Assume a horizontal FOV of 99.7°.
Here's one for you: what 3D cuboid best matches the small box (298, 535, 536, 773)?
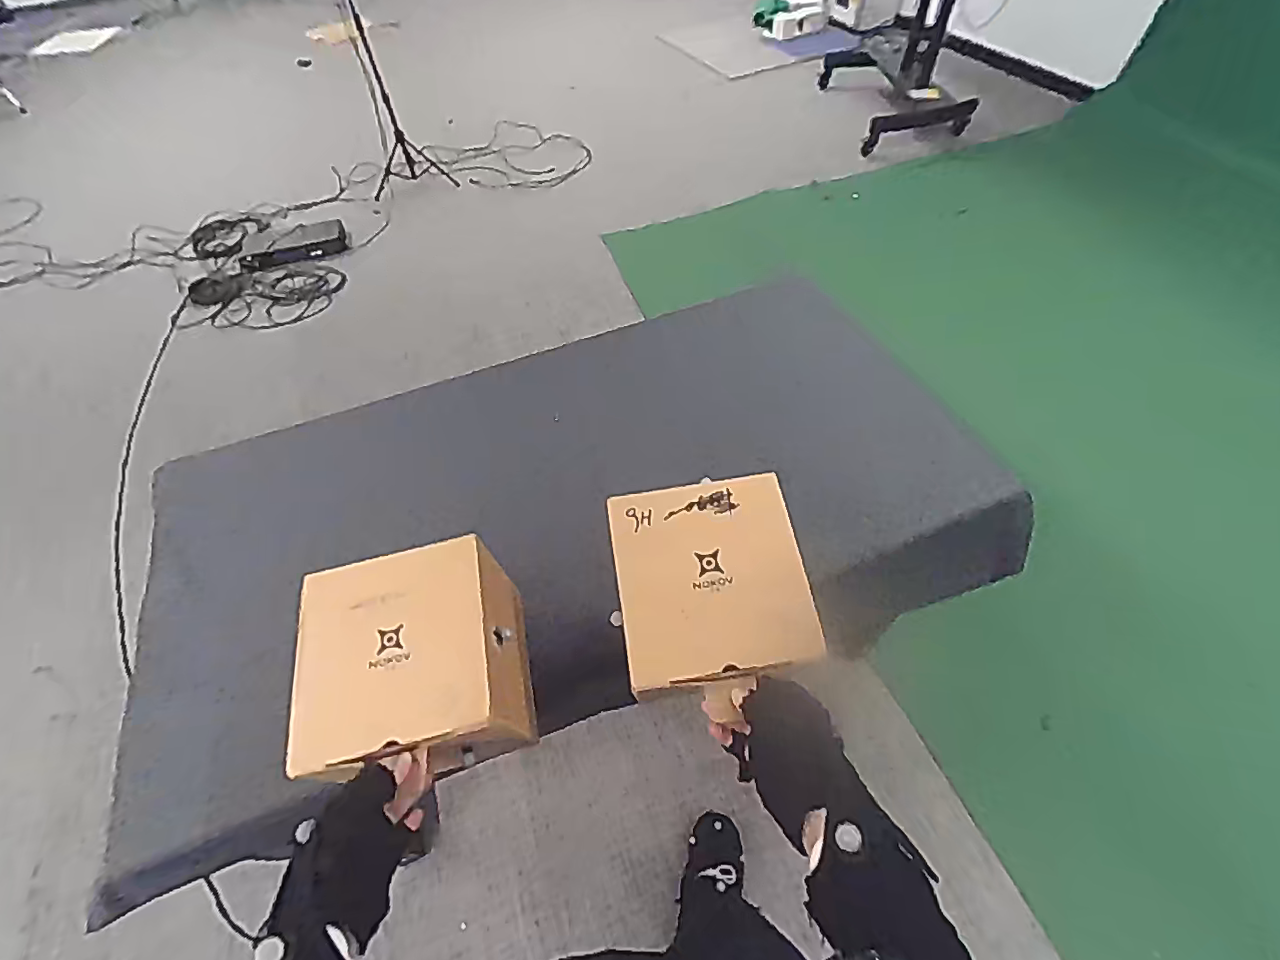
[{"bbox_3d":[-0.214,0.185,0.554,0.168,0.176,0.179,-15,58,-4],"label":"small box"}]
